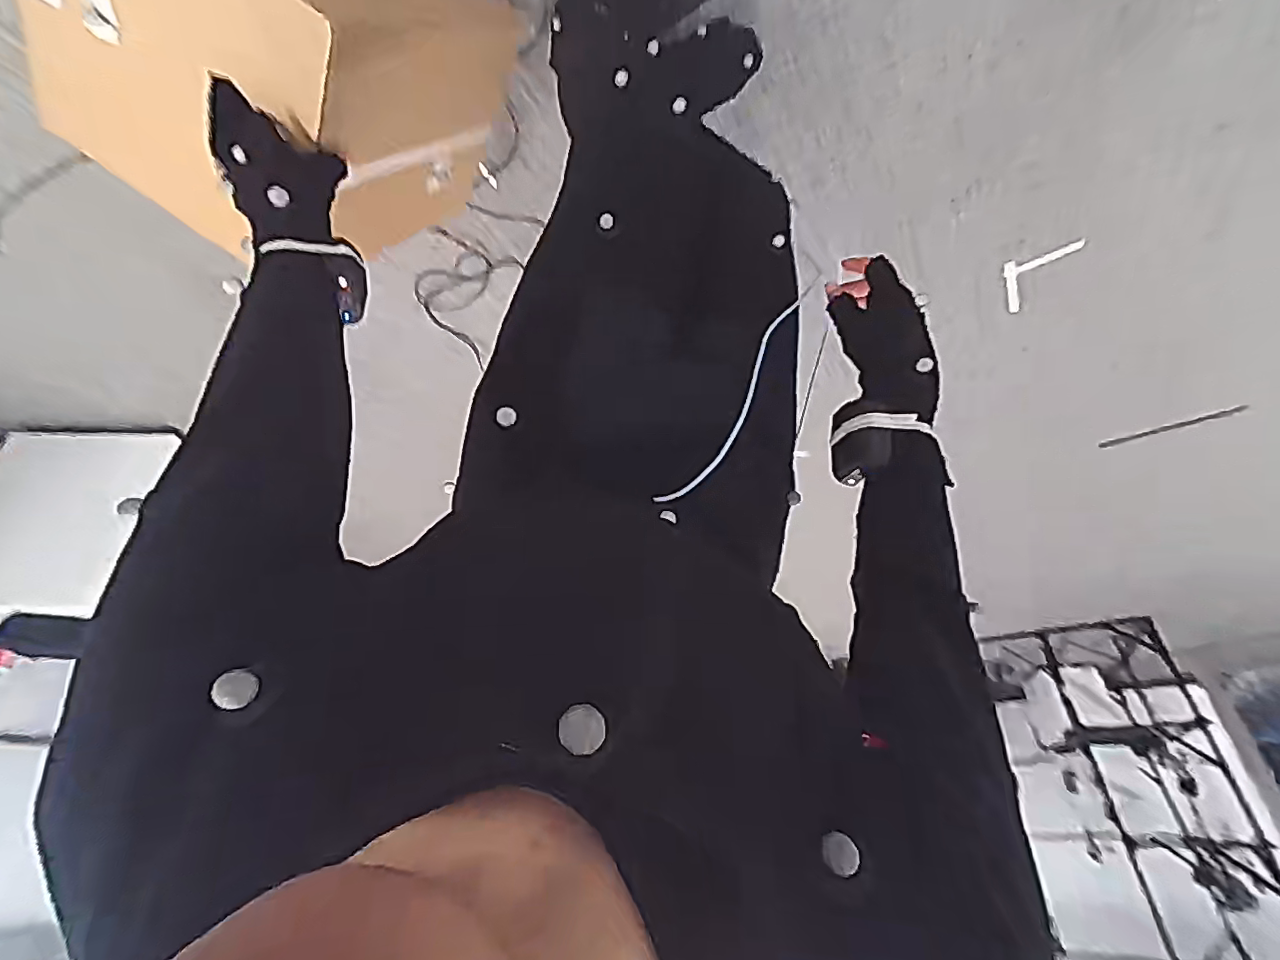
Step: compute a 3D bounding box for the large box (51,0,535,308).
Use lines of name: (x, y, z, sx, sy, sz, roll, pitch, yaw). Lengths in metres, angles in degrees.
large box: (-0.402, -0.500, 0.692, 0.320, 0.408, 0.320, 36, 132, -11)
